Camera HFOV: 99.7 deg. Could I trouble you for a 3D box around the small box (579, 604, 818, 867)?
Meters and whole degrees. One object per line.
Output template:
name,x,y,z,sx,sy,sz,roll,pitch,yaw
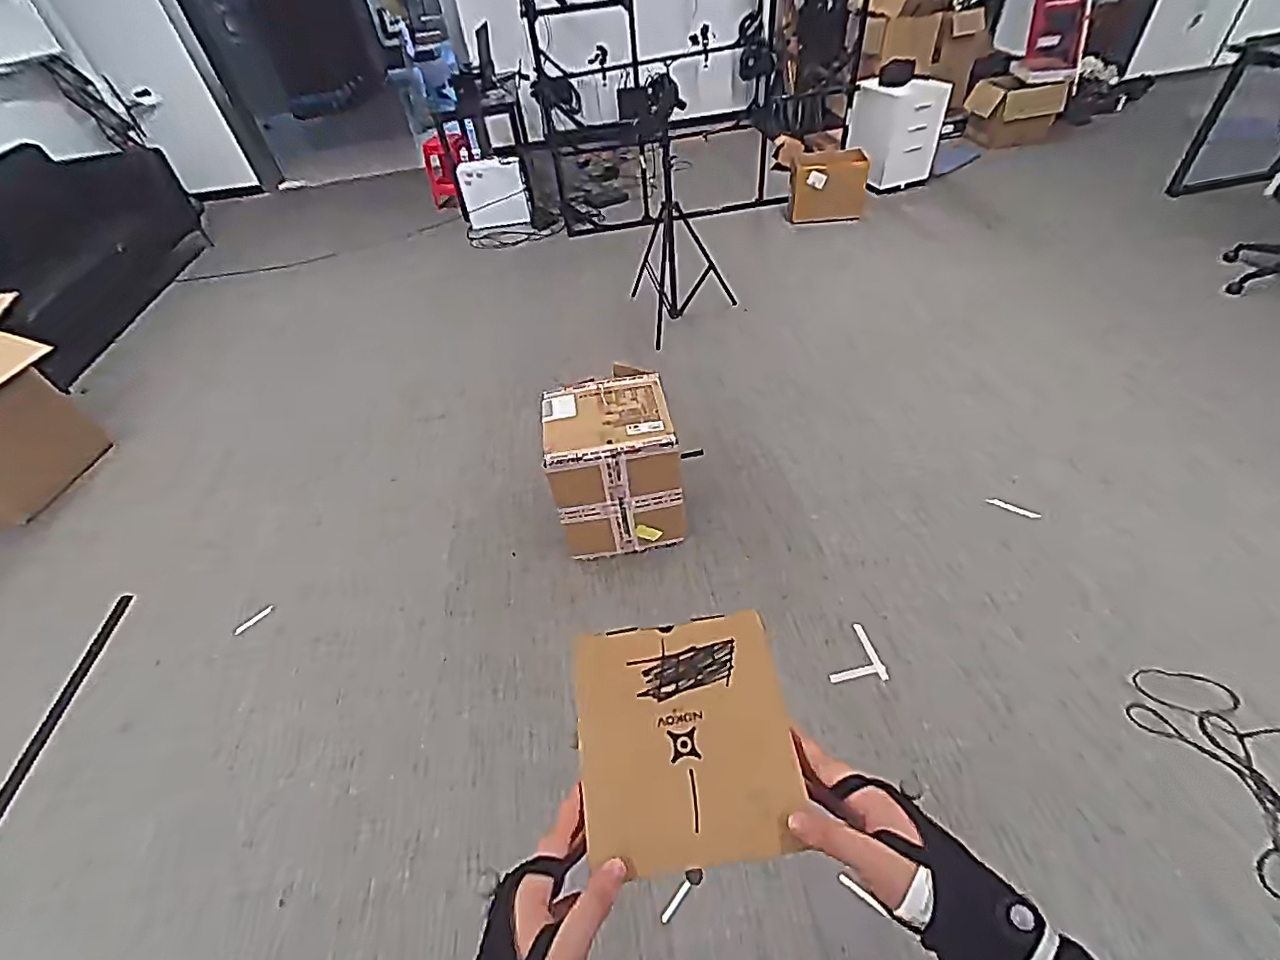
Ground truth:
small box,0.040,0.236,0.498,0.168,0.176,0.179,-9,58,-2
